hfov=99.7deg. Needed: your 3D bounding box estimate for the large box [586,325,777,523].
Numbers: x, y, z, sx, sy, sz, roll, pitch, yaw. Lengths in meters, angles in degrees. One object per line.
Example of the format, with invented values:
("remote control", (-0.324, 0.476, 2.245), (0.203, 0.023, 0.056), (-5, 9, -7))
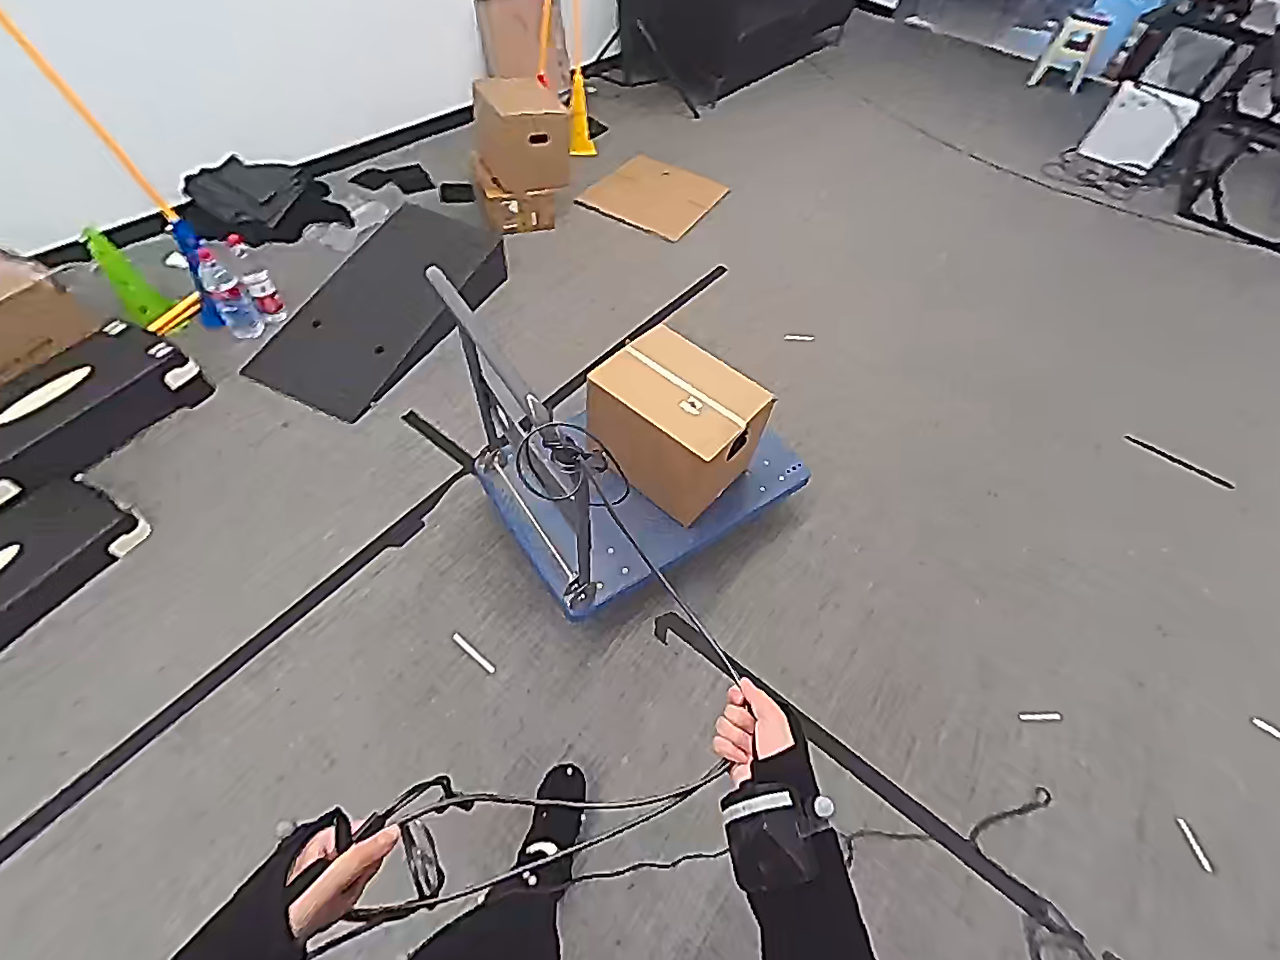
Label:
("large box", (0.098, -0.159, 1.523), (0.408, 0.320, 0.320), (38, 60, 18))
